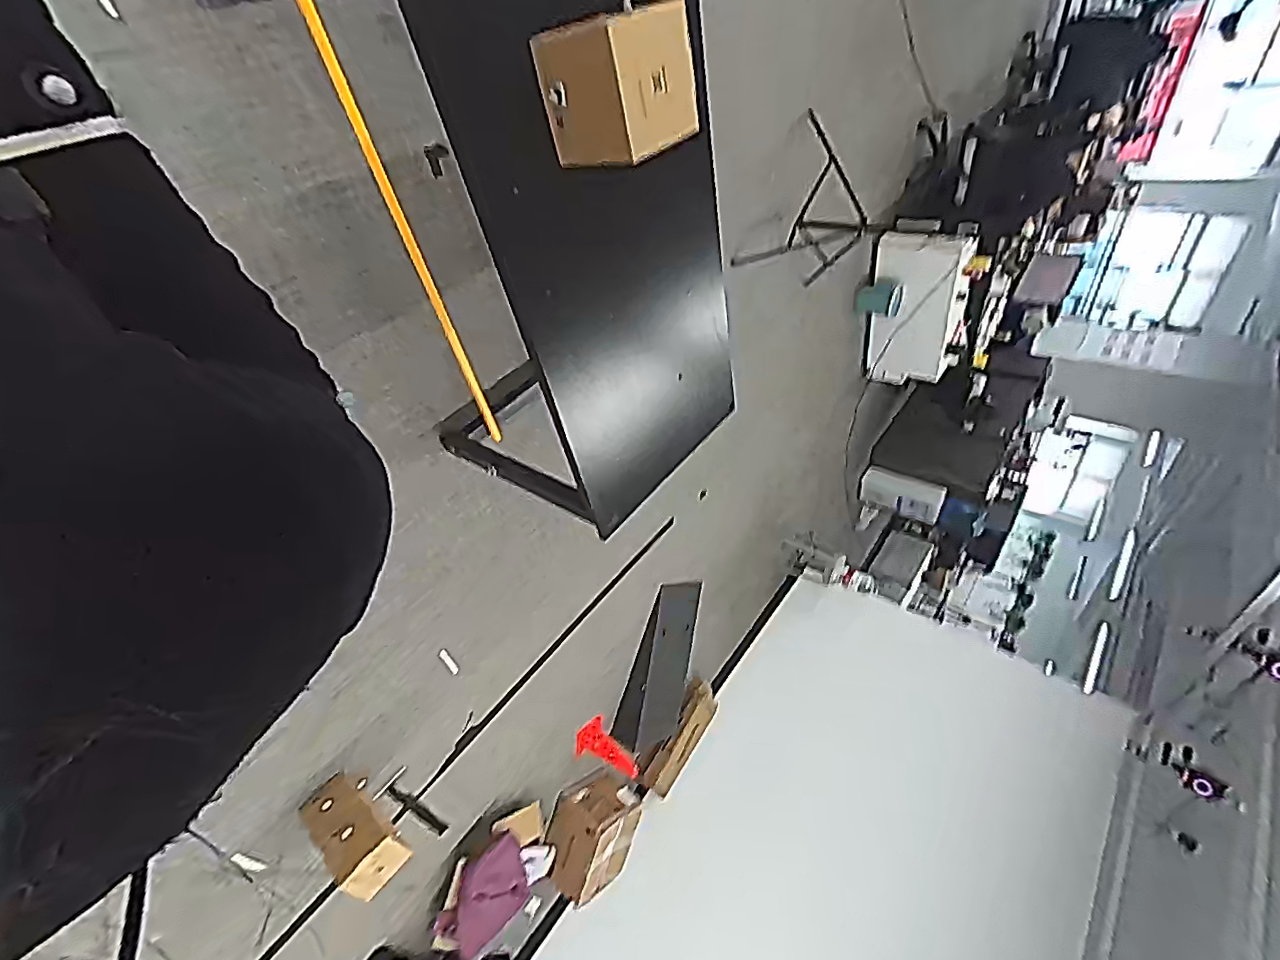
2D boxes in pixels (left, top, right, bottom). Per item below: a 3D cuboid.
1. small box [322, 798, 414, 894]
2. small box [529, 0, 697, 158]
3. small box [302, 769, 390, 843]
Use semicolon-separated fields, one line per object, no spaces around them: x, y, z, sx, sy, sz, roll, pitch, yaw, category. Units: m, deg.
-0.862;1.154;1.713;0.168;0.176;0.179;-42;137;-31;small box
-0.038;-0.617;0.834;0.179;0.176;0.168;-45;138;-28;small box
-0.987;1.108;1.812;0.168;0.176;0.179;-43;138;-30;small box
